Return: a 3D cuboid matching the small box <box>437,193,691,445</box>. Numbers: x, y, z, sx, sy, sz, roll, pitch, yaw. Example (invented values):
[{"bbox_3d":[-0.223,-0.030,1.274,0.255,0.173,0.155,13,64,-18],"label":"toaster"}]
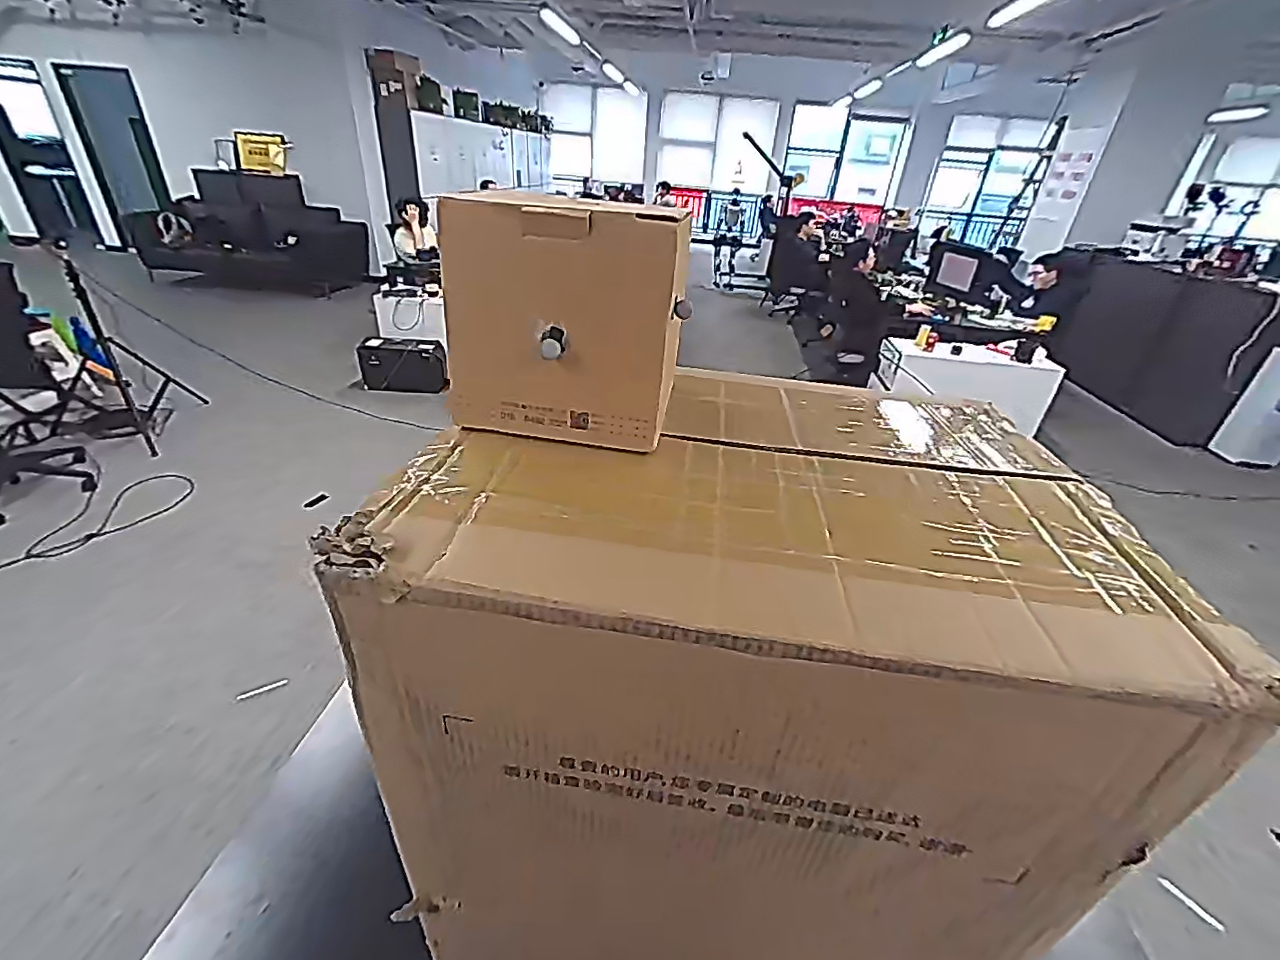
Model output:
[{"bbox_3d":[-0.050,-0.143,0.465,0.168,0.176,0.179,8,30,4],"label":"small box"}]
